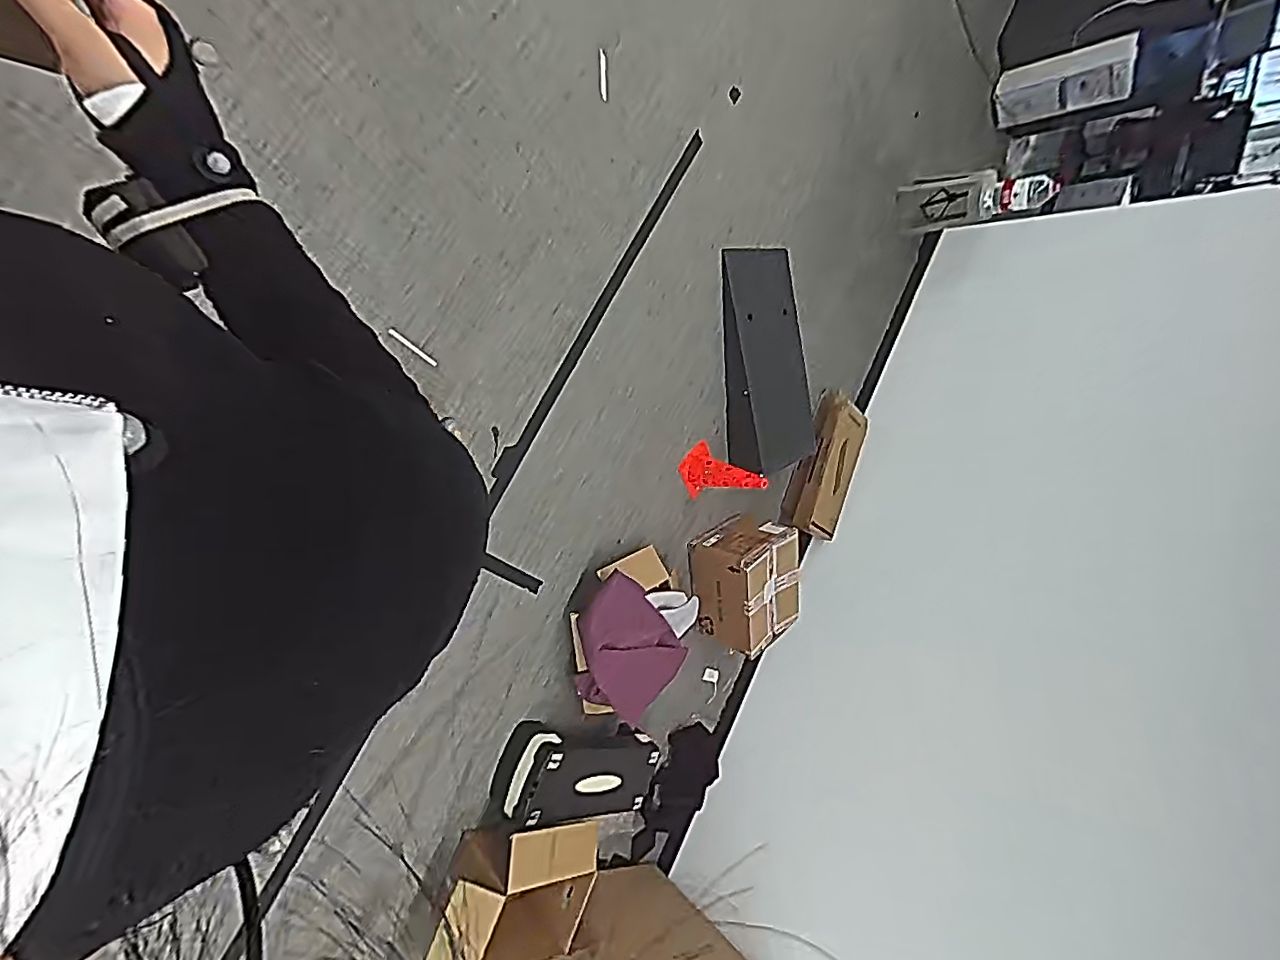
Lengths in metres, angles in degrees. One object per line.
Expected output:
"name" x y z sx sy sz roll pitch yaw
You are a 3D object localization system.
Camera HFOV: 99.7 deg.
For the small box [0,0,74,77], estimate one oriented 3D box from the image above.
"small box" -0.438 -0.367 0.292 0.168 0.176 0.179 -9 109 -44
